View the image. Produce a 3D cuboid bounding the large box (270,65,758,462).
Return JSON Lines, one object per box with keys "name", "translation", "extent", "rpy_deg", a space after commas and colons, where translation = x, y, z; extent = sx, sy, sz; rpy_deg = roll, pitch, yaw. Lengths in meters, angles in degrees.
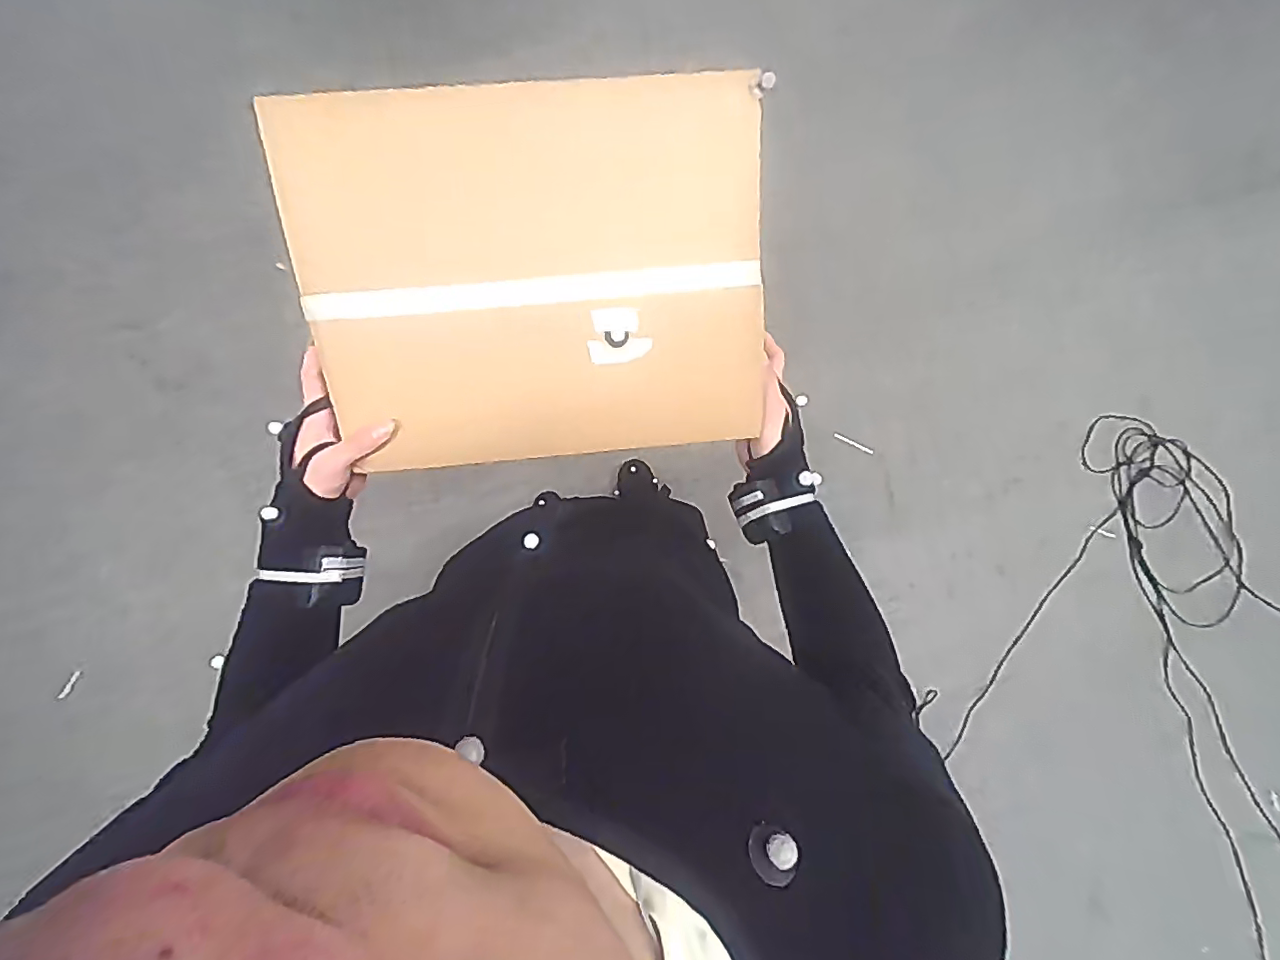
{"name": "large box", "translation": [-0.104, -0.230, 0.631], "extent": [0.408, 0.320, 0.320], "rpy_deg": [-6, 110, -4]}
